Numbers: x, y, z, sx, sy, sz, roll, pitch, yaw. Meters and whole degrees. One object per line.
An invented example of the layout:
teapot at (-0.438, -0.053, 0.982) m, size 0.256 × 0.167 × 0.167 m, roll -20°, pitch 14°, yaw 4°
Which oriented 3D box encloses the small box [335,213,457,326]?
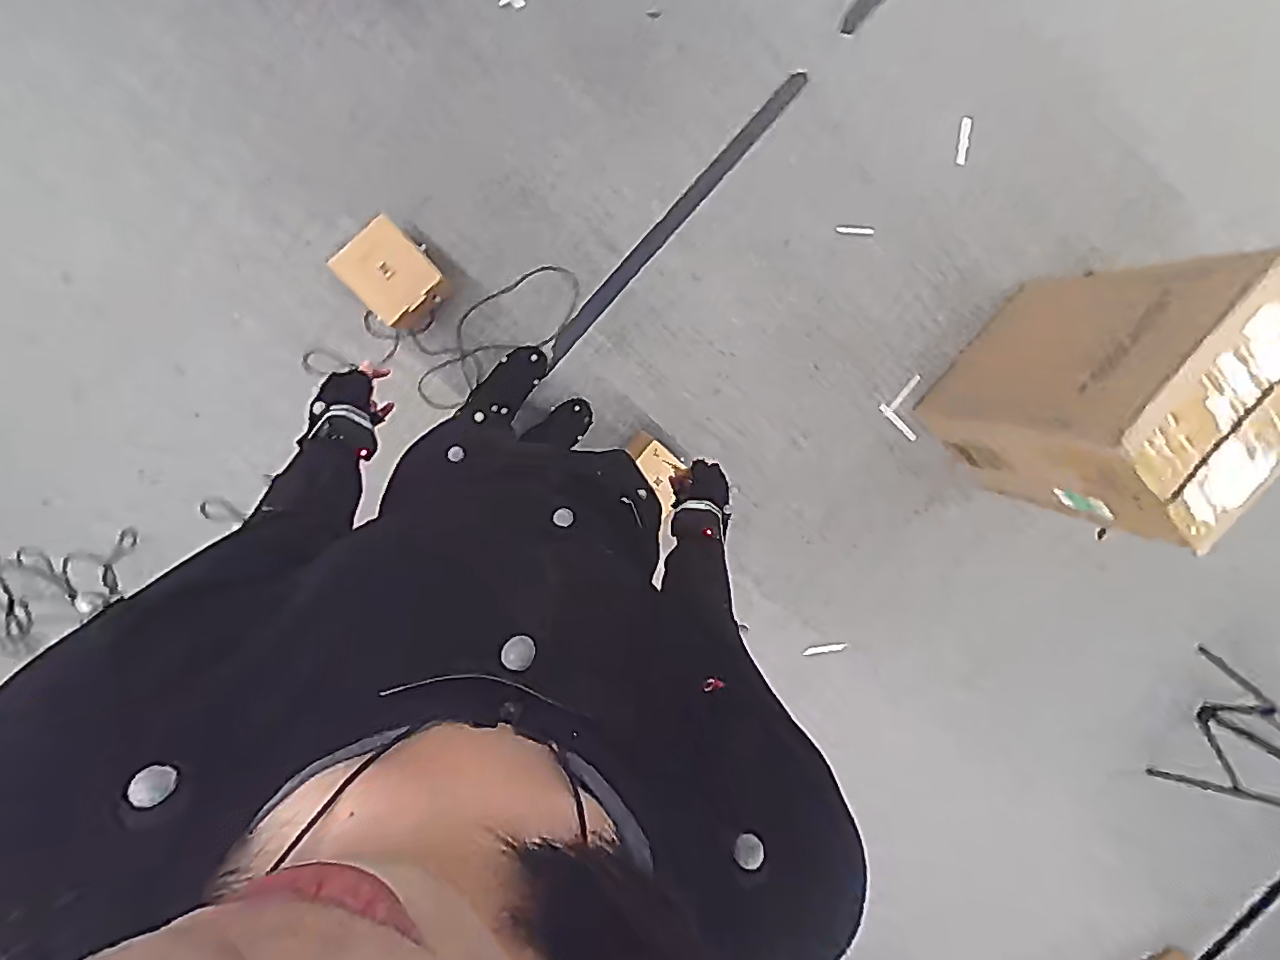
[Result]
small box at (-0.551, -0.474, 1.252) m, size 0.168 × 0.176 × 0.179 m, roll -43°, pitch 104°, yaw -1°

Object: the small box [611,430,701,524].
small box at (0.035, -0.014, 1.481) m, size 0.168 × 0.176 × 0.179 m, roll 41°, pitch 94°, yaw -17°
